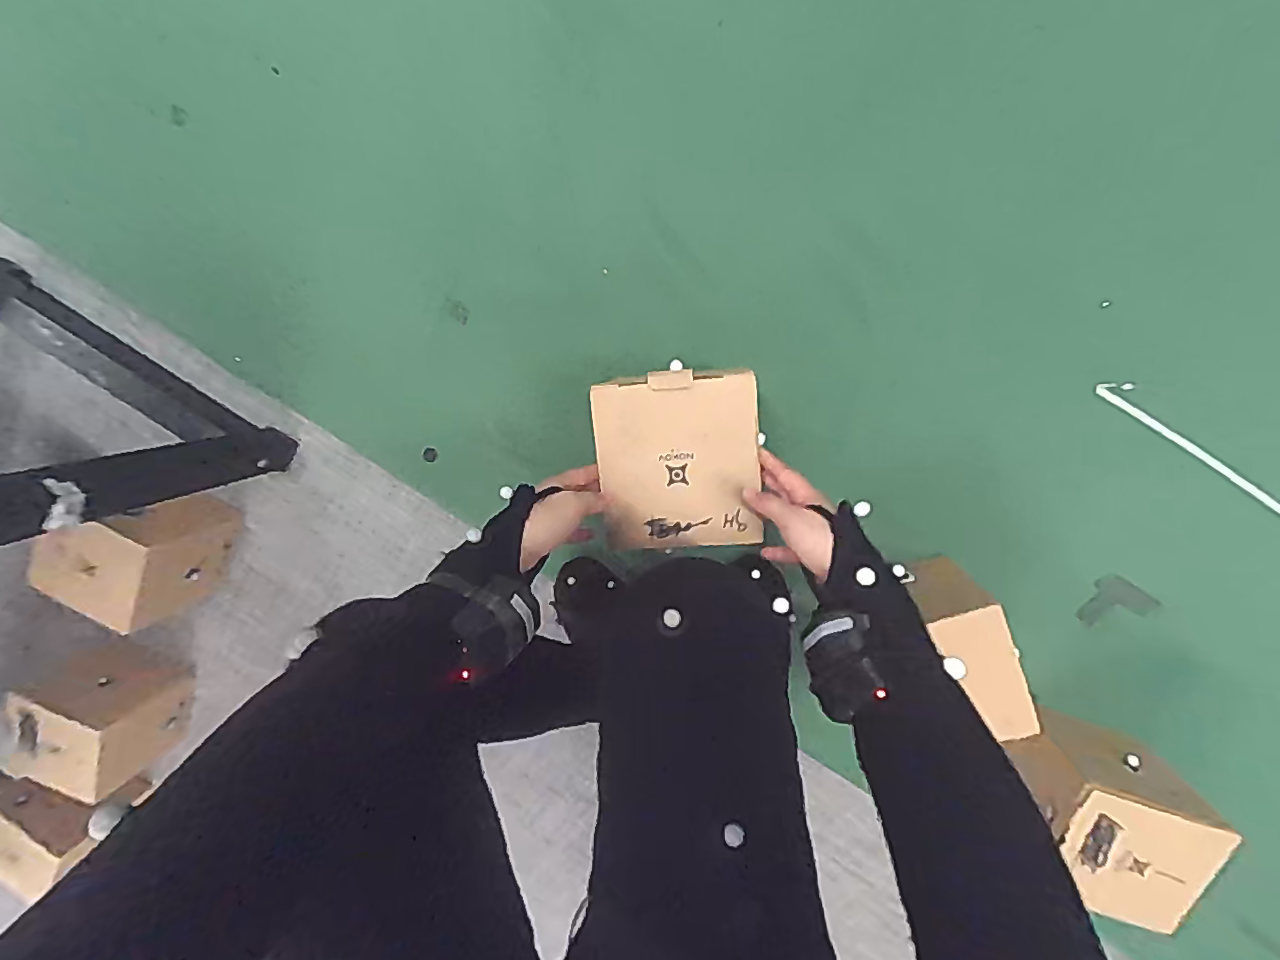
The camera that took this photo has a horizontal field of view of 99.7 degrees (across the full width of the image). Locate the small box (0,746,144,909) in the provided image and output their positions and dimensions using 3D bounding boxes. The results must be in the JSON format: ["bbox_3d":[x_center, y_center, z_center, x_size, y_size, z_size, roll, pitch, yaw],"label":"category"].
[{"bbox_3d":[-1.134,0.665,1.052,0.179,0.176,0.168,37,106,0],"label":"small box"}]

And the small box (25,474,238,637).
[{"bbox_3d":[-0.794,0.108,0.860,0.179,0.176,0.168,28,106,2],"label":"small box"}]

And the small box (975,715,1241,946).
[{"bbox_3d":[0.591,0.446,0.717,0.179,0.176,0.168,18,105,4],"label":"small box"}]

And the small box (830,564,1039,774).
[{"bbox_3d":[0.367,0.236,0.704,0.168,0.176,0.179,-21,98,13],"label":"small box"}]

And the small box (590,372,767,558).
[{"bbox_3d":[0.048,-0.027,0.608,0.168,0.176,0.179,-4,104,9],"label":"small box"}]
